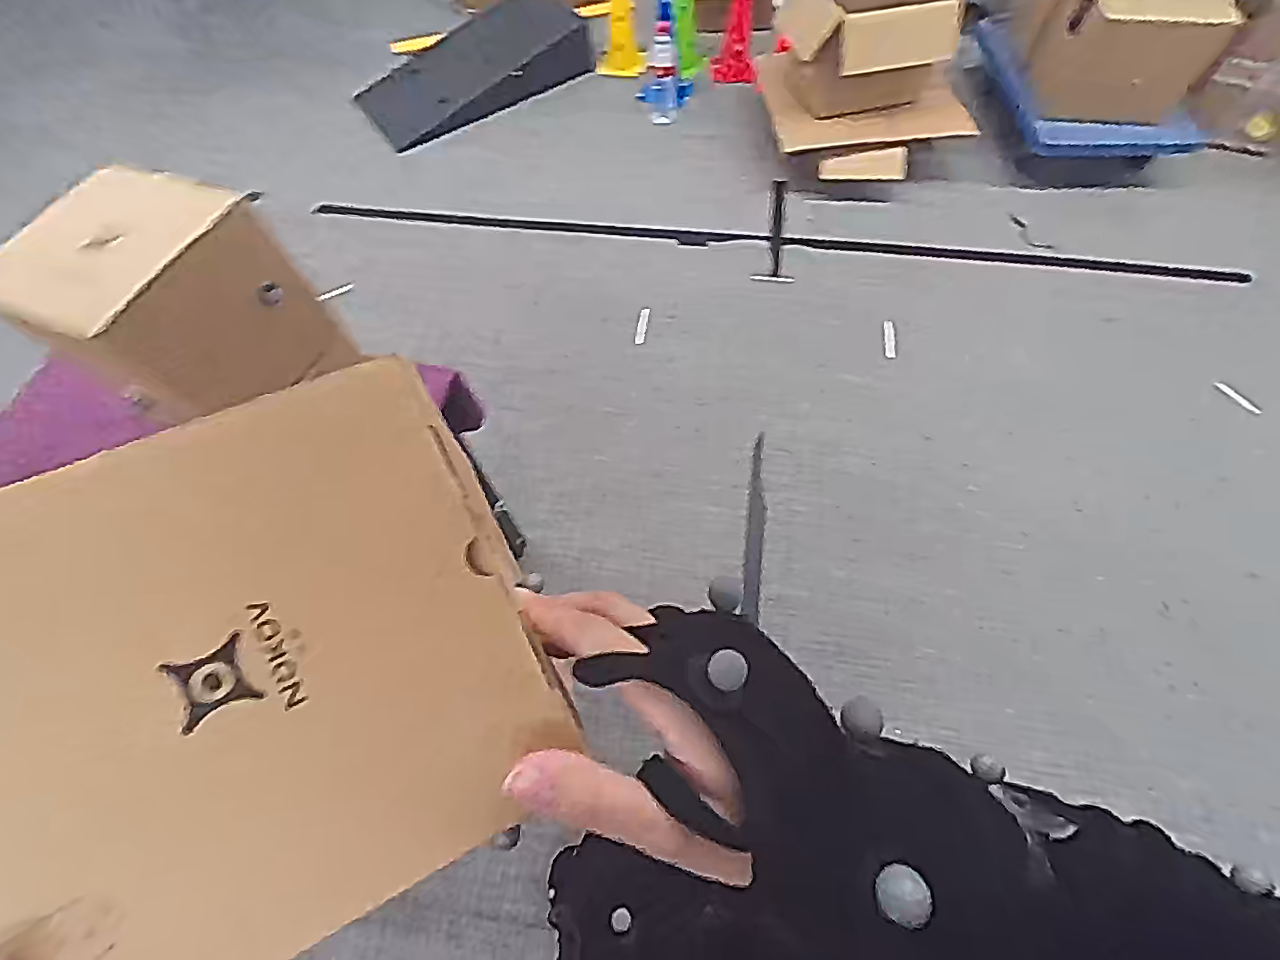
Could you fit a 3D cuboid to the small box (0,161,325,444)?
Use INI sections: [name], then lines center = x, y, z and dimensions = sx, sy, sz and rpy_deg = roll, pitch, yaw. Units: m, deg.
[small box]
center = -0.450, -0.165, 0.526
dimensions = 0.168, 0.176, 0.179
rpy_deg = 18, 67, 12
